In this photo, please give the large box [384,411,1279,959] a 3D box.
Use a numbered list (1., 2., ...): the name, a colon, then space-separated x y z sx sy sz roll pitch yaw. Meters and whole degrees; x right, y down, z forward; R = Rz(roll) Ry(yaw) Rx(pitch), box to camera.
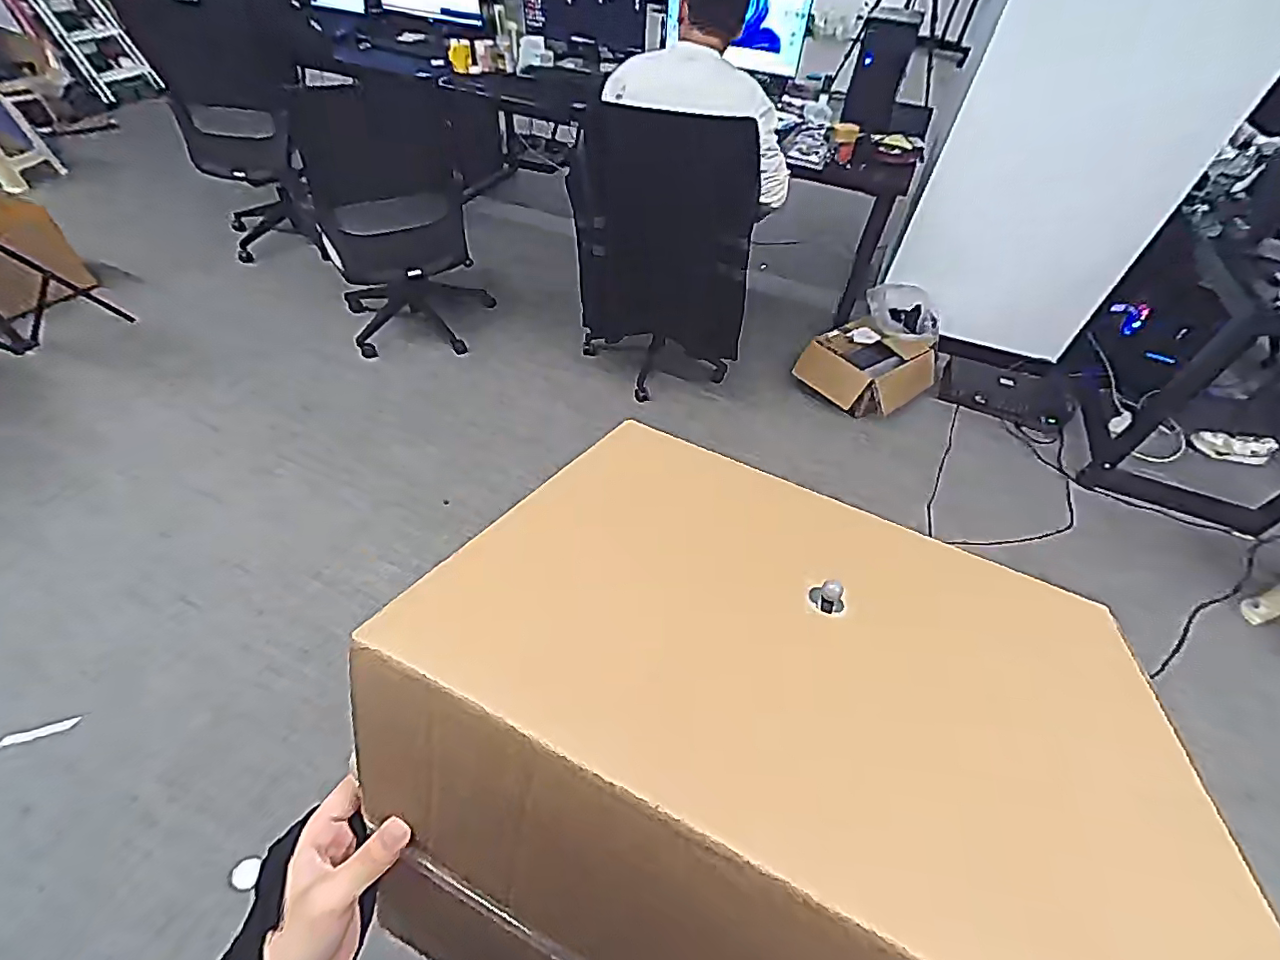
1. large box: 0.090 0.186 0.391 0.408 0.320 0.320 22 32 14
